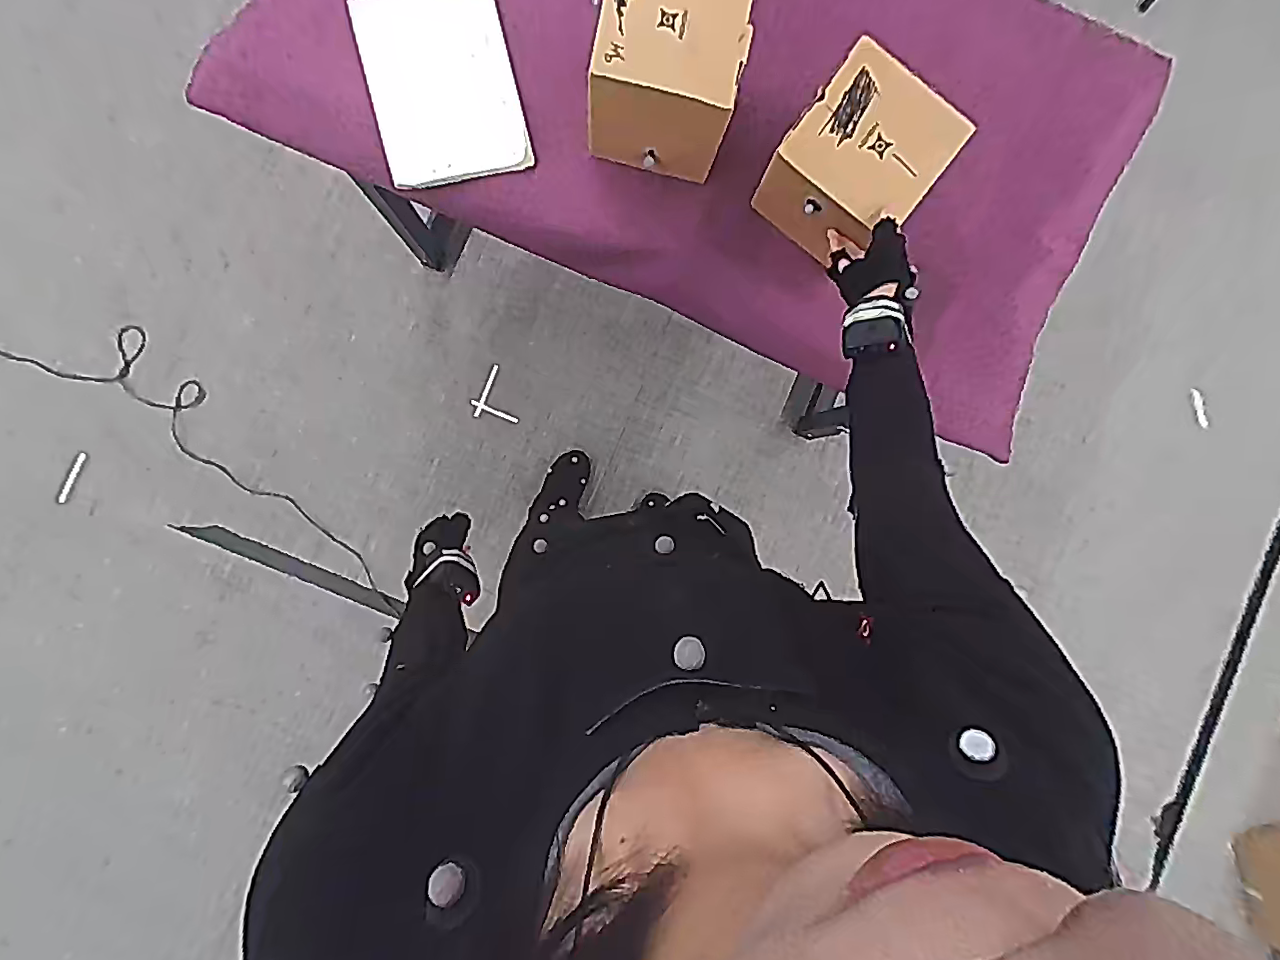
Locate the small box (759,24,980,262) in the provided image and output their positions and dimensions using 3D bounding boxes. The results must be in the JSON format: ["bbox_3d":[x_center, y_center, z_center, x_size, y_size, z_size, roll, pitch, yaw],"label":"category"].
[{"bbox_3d":[0.283,-0.420,0.713,0.179,0.176,0.168,38,95,-3],"label":"small box"}]

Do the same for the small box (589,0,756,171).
[{"bbox_3d":[0.035,-0.538,0.703,0.179,0.176,0.168,11,89,-5],"label":"small box"}]
